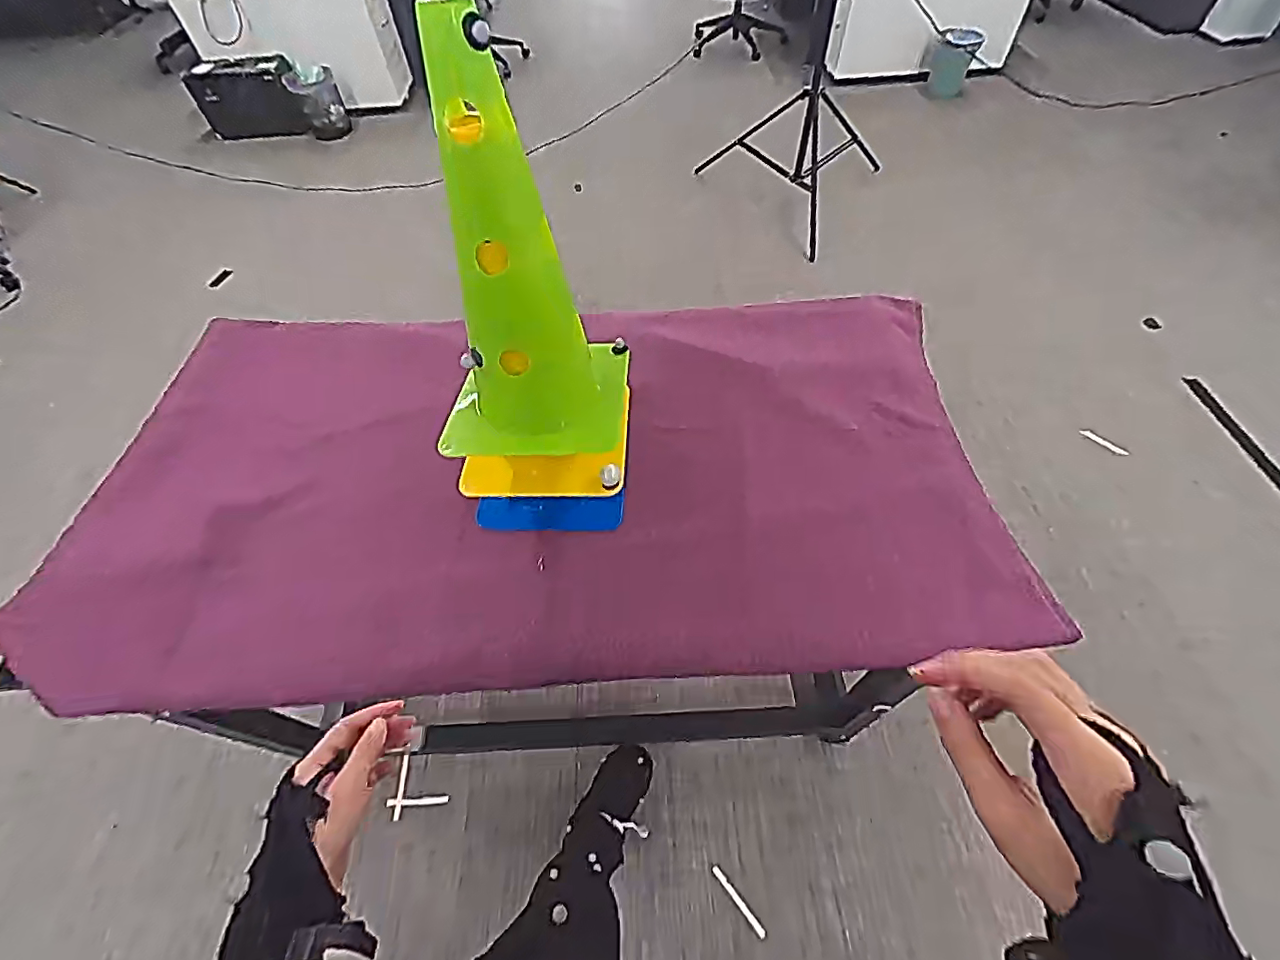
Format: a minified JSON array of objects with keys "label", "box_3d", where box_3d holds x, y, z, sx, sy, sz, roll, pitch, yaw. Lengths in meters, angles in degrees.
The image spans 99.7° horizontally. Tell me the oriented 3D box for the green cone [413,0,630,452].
[{"label":"green cone","box_3d":[-0.127,-0.221,0.505,0.200,0.368,0.202,-2,48,4]}]
